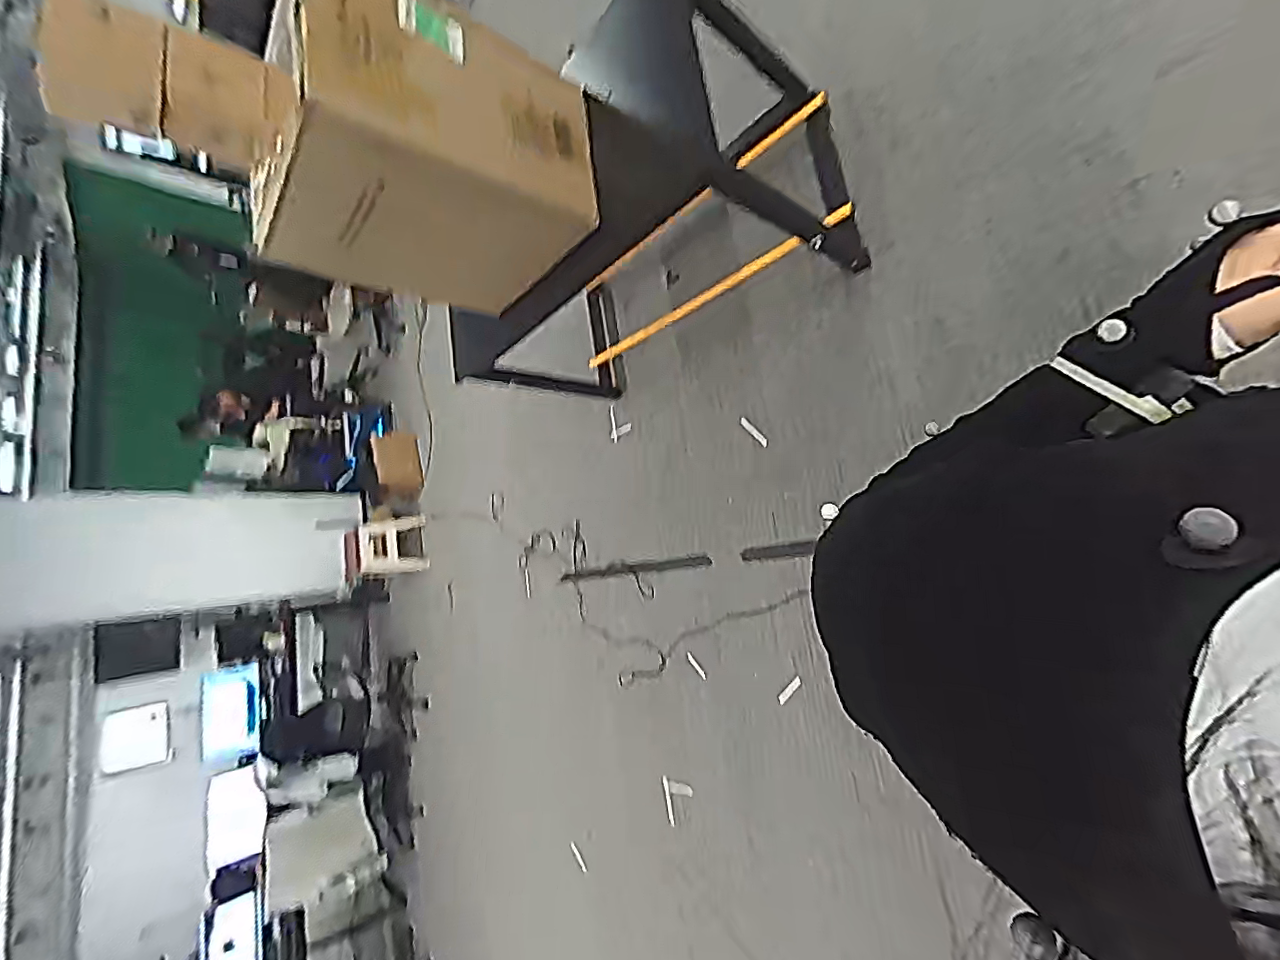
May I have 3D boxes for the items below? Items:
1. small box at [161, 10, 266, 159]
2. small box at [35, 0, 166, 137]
[{"bbox_3d":[-0.921,-0.832,1.166,0.168,0.176,0.179,-17,77,45],"label":"small box"},{"bbox_3d":[-1.037,-0.821,1.050,0.168,0.176,0.179,-15,78,47],"label":"small box"}]
